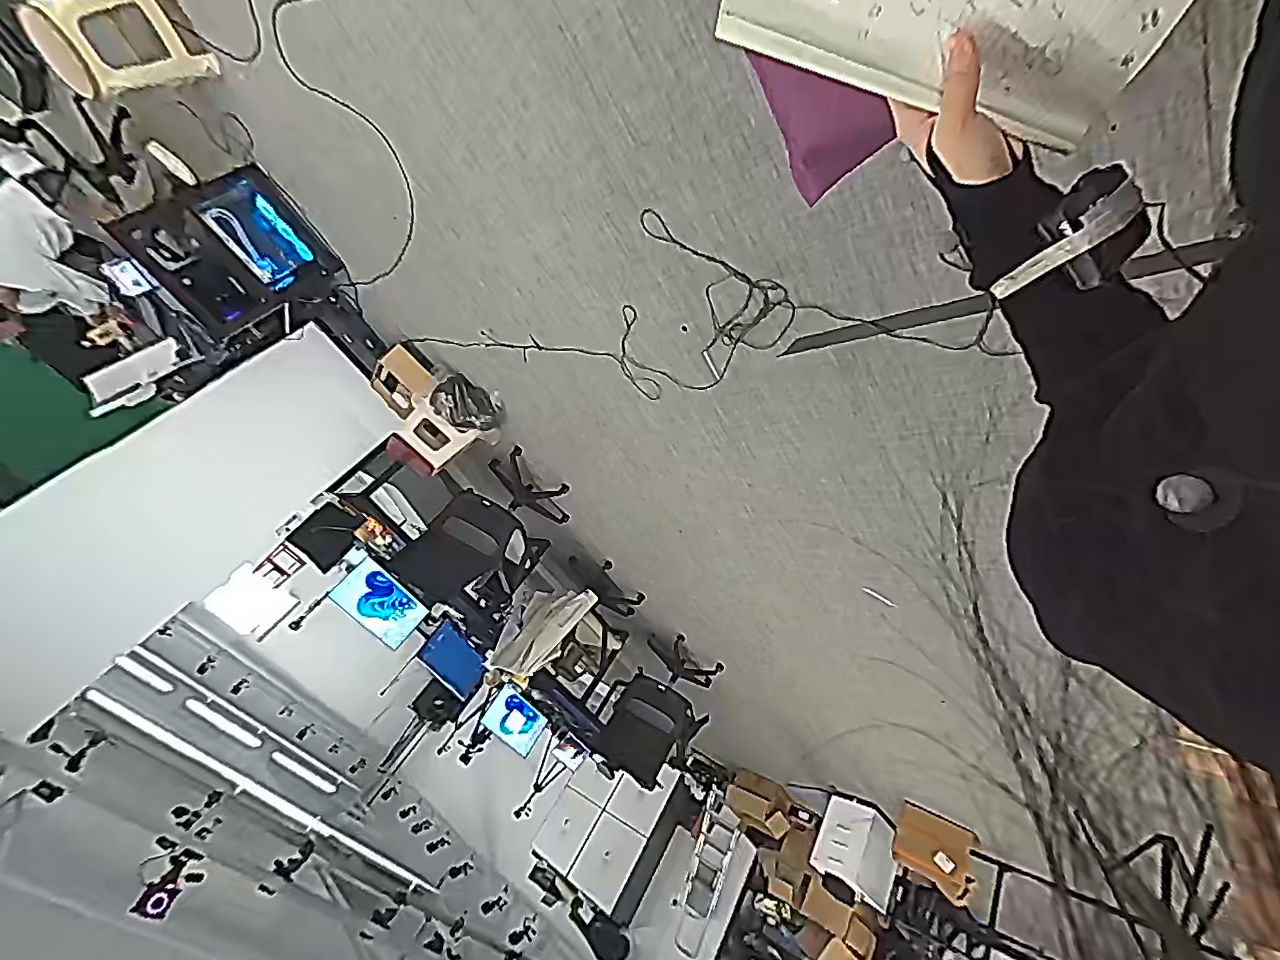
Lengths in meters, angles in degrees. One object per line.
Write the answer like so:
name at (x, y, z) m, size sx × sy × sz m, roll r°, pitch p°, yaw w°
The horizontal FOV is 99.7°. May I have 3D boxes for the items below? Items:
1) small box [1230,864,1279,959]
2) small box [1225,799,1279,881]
small box at (1.538, 1.067, 1.288) m, size 0.168 × 0.176 × 0.179 m, roll 3°, pitch 136°, yaw 43°
small box at (1.615, 0.944, 1.367) m, size 0.179 × 0.176 × 0.168 m, roll 0°, pitch 135°, yaw 44°
